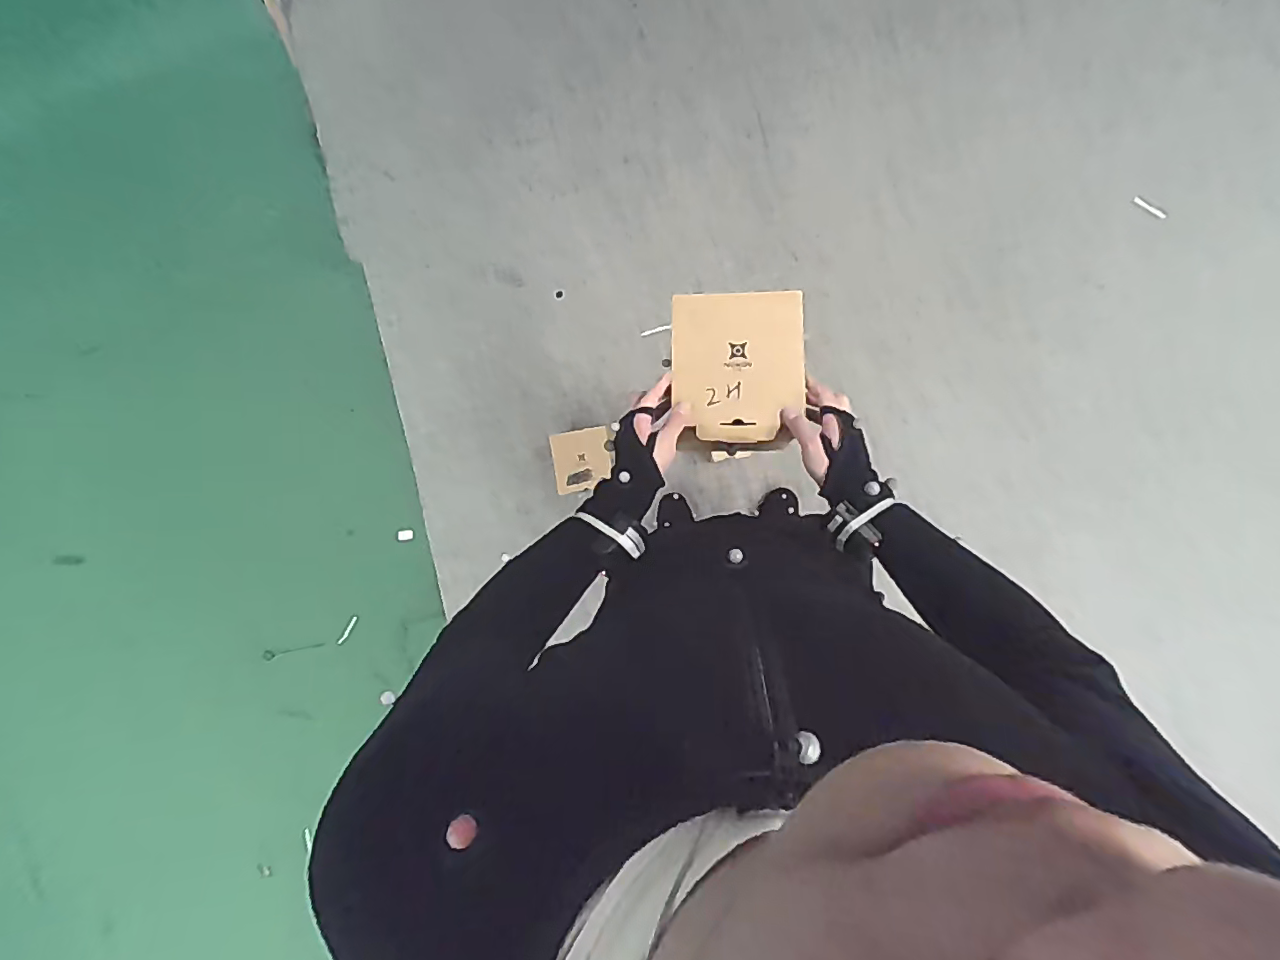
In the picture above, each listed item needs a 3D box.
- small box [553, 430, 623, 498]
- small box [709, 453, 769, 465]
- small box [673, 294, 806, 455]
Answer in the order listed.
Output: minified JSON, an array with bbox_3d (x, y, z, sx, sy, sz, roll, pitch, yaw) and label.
[{"bbox_3d":[-0.151,-0.045,1.615,0.168,0.176,0.179,-9,88,5],"label":"small box"},{"bbox_3d":[0.272,-0.142,1.555,0.168,0.176,0.179,-12,89,6],"label":"small box"},{"bbox_3d":[0.131,-0.138,0.756,0.168,0.176,0.179,0,82,6],"label":"small box"}]
